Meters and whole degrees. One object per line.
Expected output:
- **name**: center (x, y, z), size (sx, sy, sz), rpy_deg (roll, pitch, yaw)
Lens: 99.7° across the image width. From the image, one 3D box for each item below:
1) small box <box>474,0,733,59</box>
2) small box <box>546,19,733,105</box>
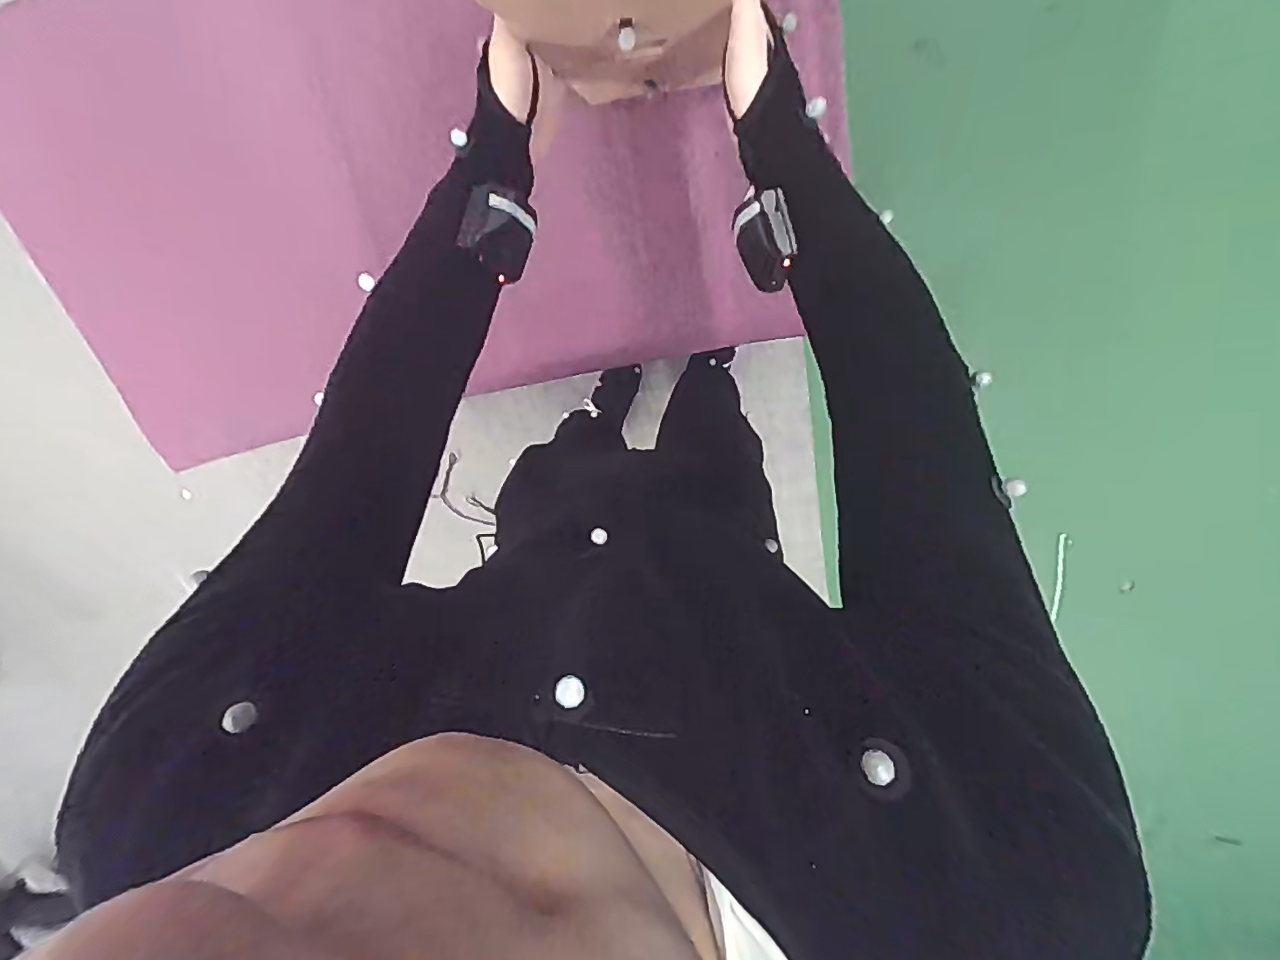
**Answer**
- **small box**: center (-0.020, -0.409, 0.363), size (0.168, 0.176, 0.179), rpy_deg (-1, 117, 9)
- **small box**: center (0.002, -0.481, 0.509), size (0.168, 0.176, 0.179), rpy_deg (-1, 116, 10)
